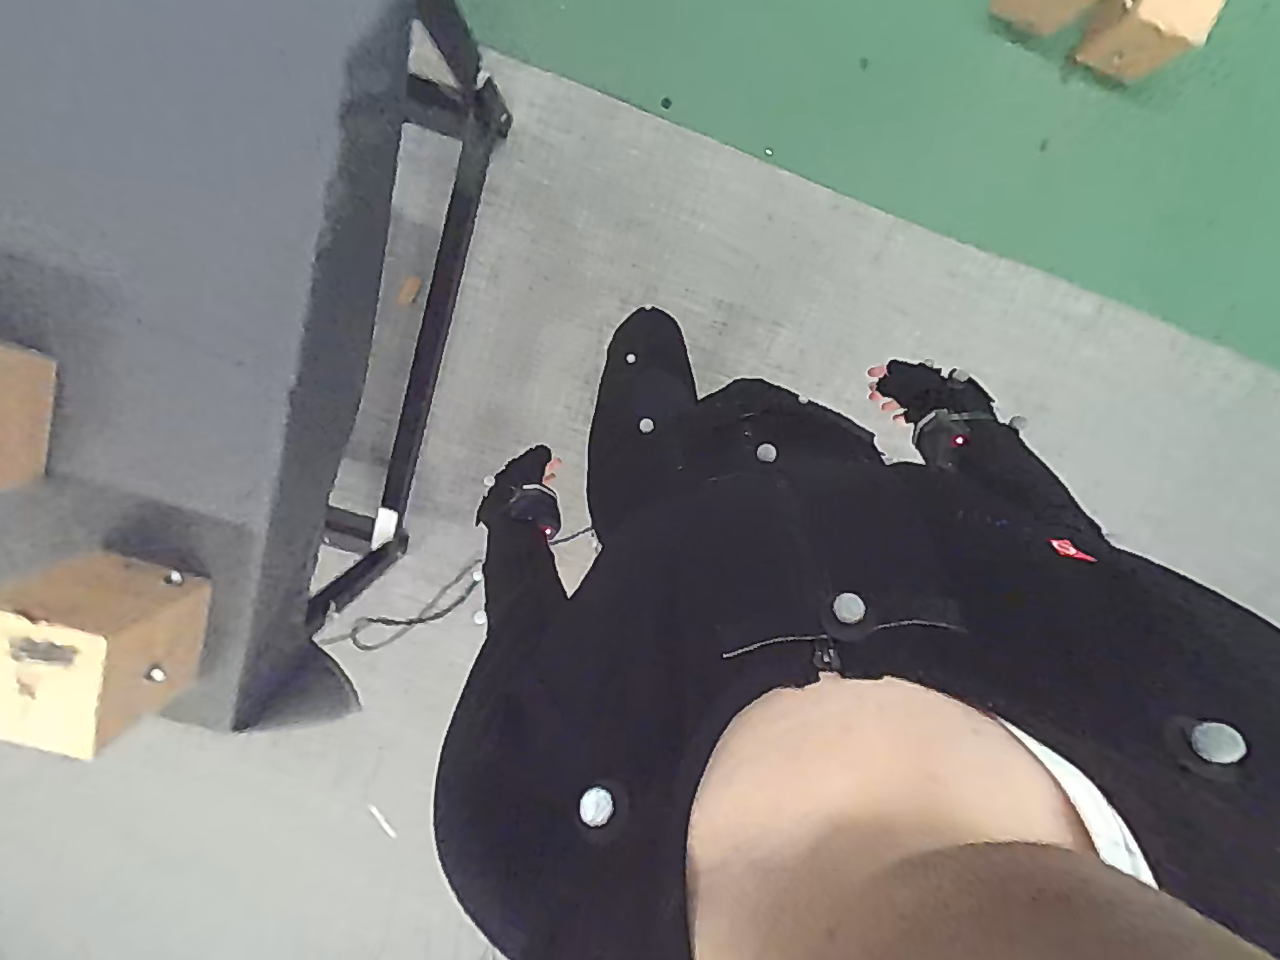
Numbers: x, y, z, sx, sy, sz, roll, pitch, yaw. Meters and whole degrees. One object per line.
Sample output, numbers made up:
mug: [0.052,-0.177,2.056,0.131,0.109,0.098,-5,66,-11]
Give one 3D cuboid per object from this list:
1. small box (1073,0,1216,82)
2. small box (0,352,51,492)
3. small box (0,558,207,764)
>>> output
small box: [1.137,-1.053,1.215,0.168,0.176,0.179,18,102,-6]
small box: [-0.864,-0.080,0.634,0.168,0.176,0.179,19,101,-7]
small box: [-0.717,0.224,0.708,0.168,0.176,0.179,17,102,-5]
